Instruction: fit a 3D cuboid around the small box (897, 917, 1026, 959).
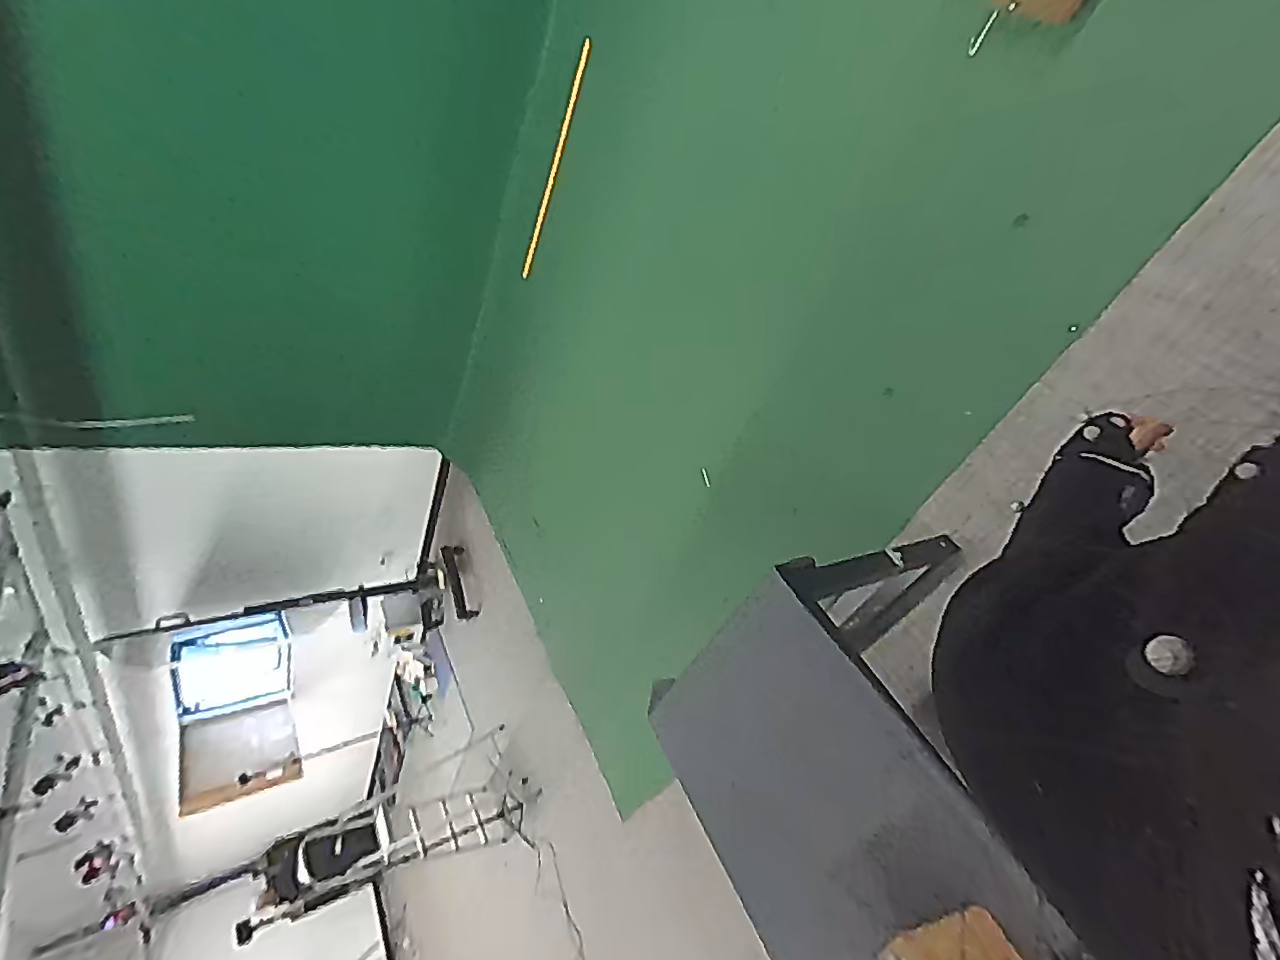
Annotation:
[{"bbox_3d":[0.424,0.716,0.697,0.168,0.176,0.179,55,132,33],"label":"small box"}]
